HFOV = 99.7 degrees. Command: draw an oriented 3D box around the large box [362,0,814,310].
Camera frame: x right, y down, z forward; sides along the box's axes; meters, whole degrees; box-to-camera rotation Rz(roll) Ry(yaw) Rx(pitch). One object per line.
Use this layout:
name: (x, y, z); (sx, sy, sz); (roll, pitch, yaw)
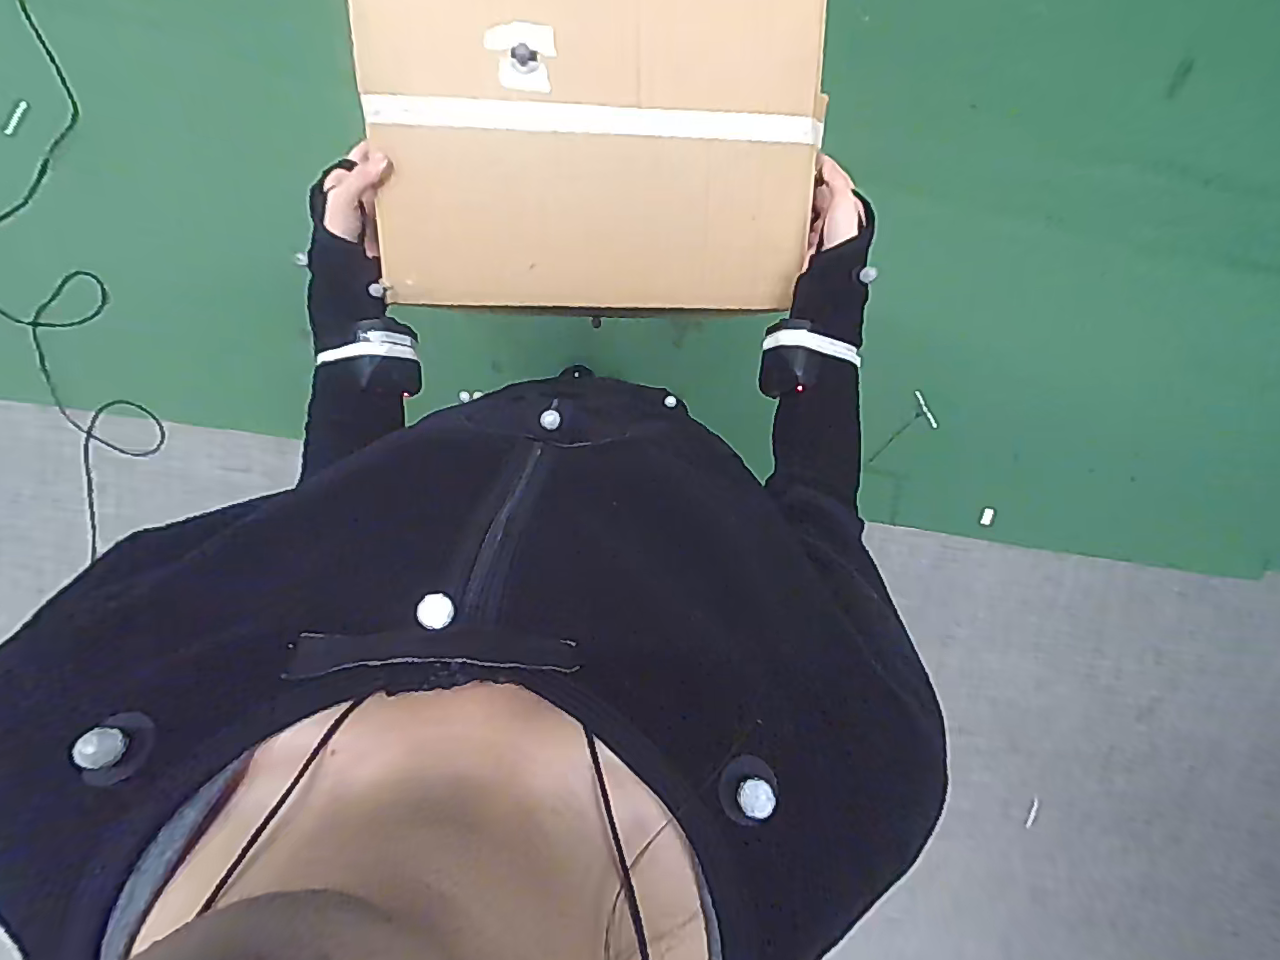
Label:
large box: (-0.054, -0.366, 0.641); (0.408, 0.320, 0.320); (-1, 105, -7)
